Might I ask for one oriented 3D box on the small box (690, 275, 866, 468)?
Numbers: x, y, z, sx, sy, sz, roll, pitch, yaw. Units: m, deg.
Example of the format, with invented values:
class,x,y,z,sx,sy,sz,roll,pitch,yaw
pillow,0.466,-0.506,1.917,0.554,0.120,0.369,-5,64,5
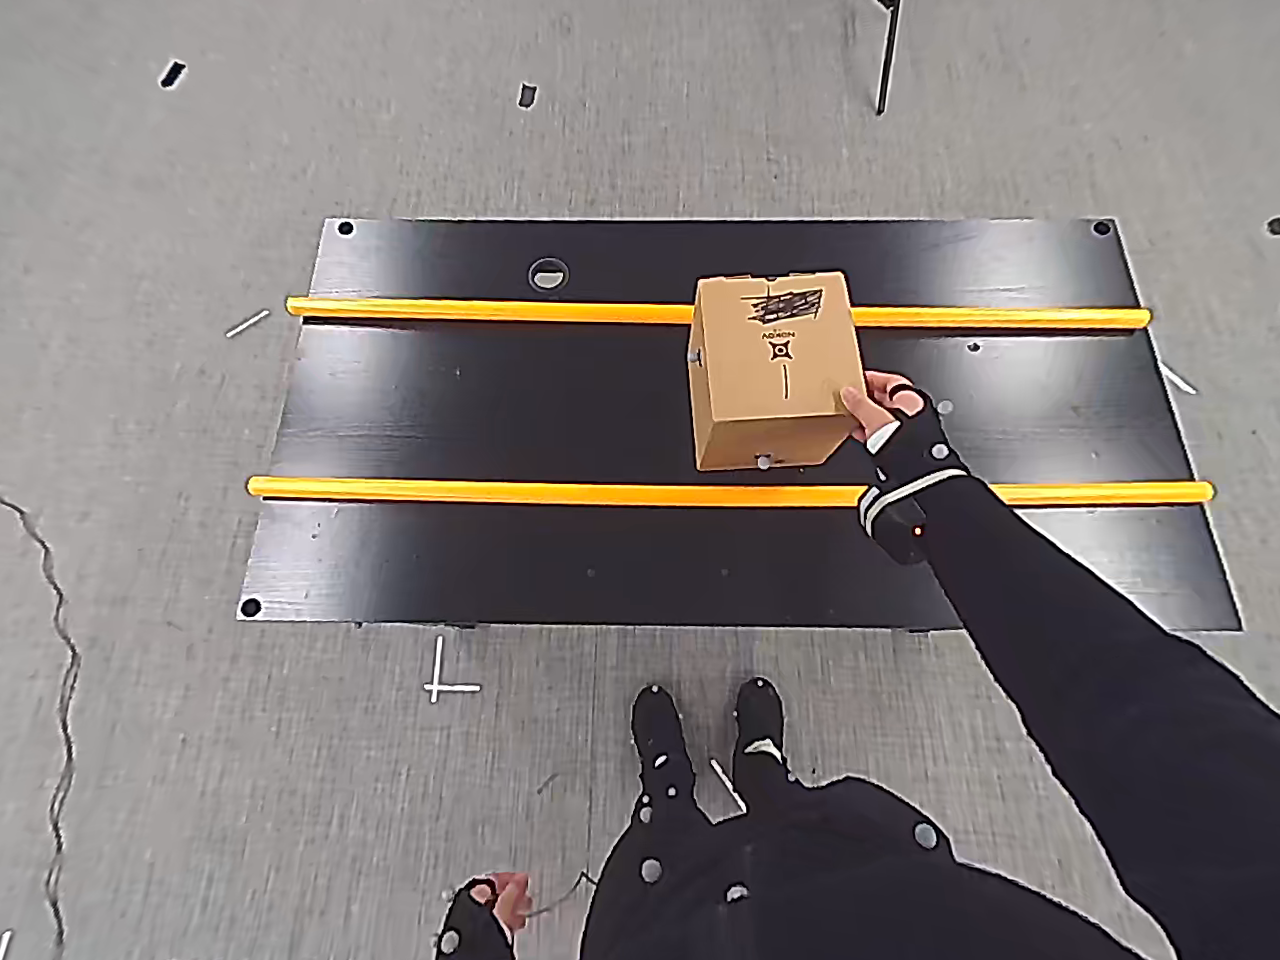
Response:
class,x,y,z,sx,sy,sz,roll,pitch,yaw
small box,0.153,-0.125,0.667,0.168,0.176,0.179,-3,73,0
